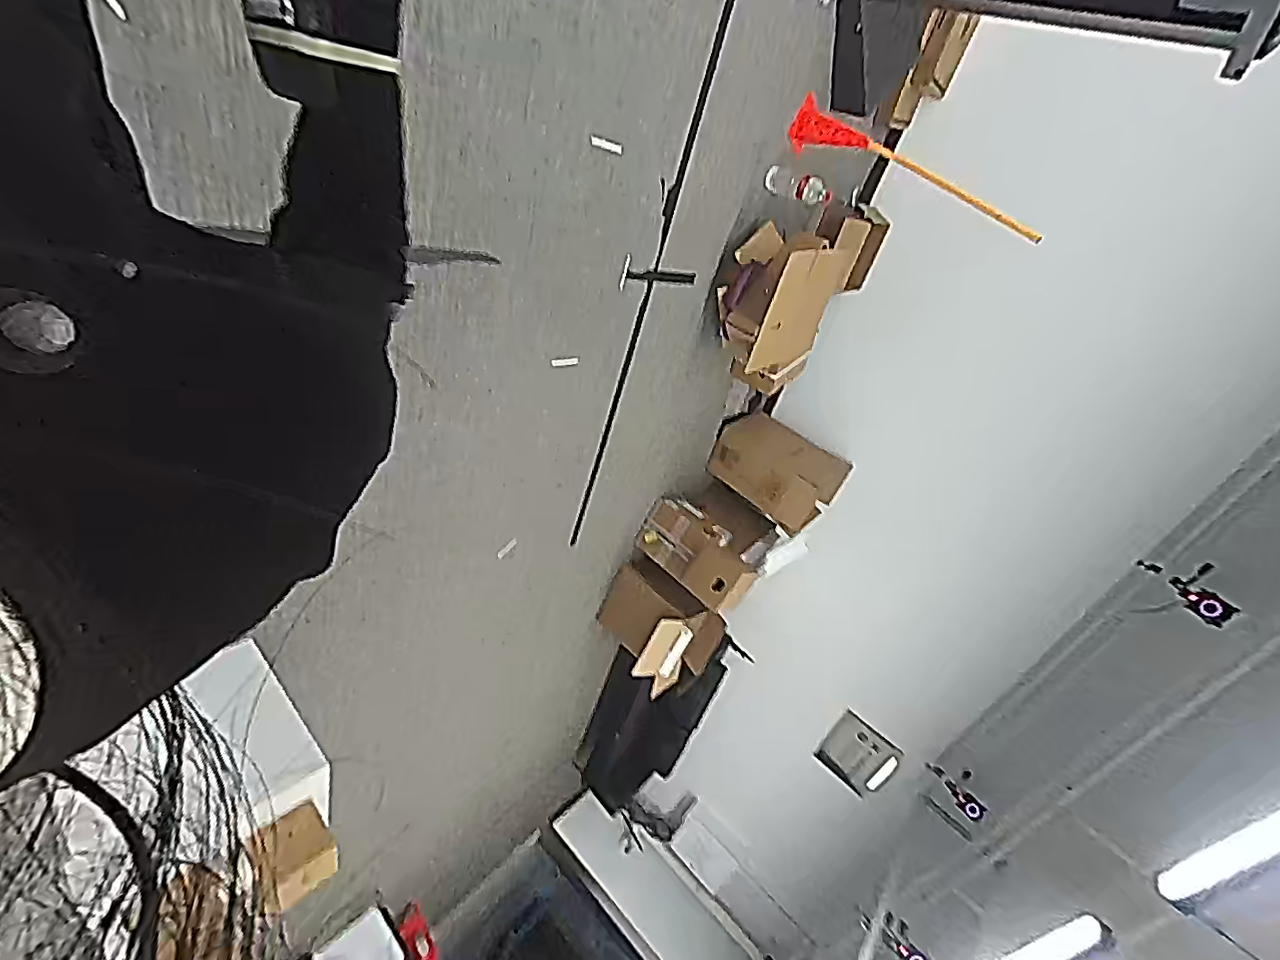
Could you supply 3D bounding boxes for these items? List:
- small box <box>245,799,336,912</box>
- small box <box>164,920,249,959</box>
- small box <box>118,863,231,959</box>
[{"bbox_3d":[-0.980,1.047,1.521,0.168,0.176,0.179,-23,141,-47],"label":"small box"},{"bbox_3d":[-1.014,1.183,1.254,0.168,0.176,0.179,-21,140,-51],"label":"small box"},{"bbox_3d":[-1.130,1.087,1.318,0.168,0.176,0.179,-21,139,-51],"label":"small box"}]
